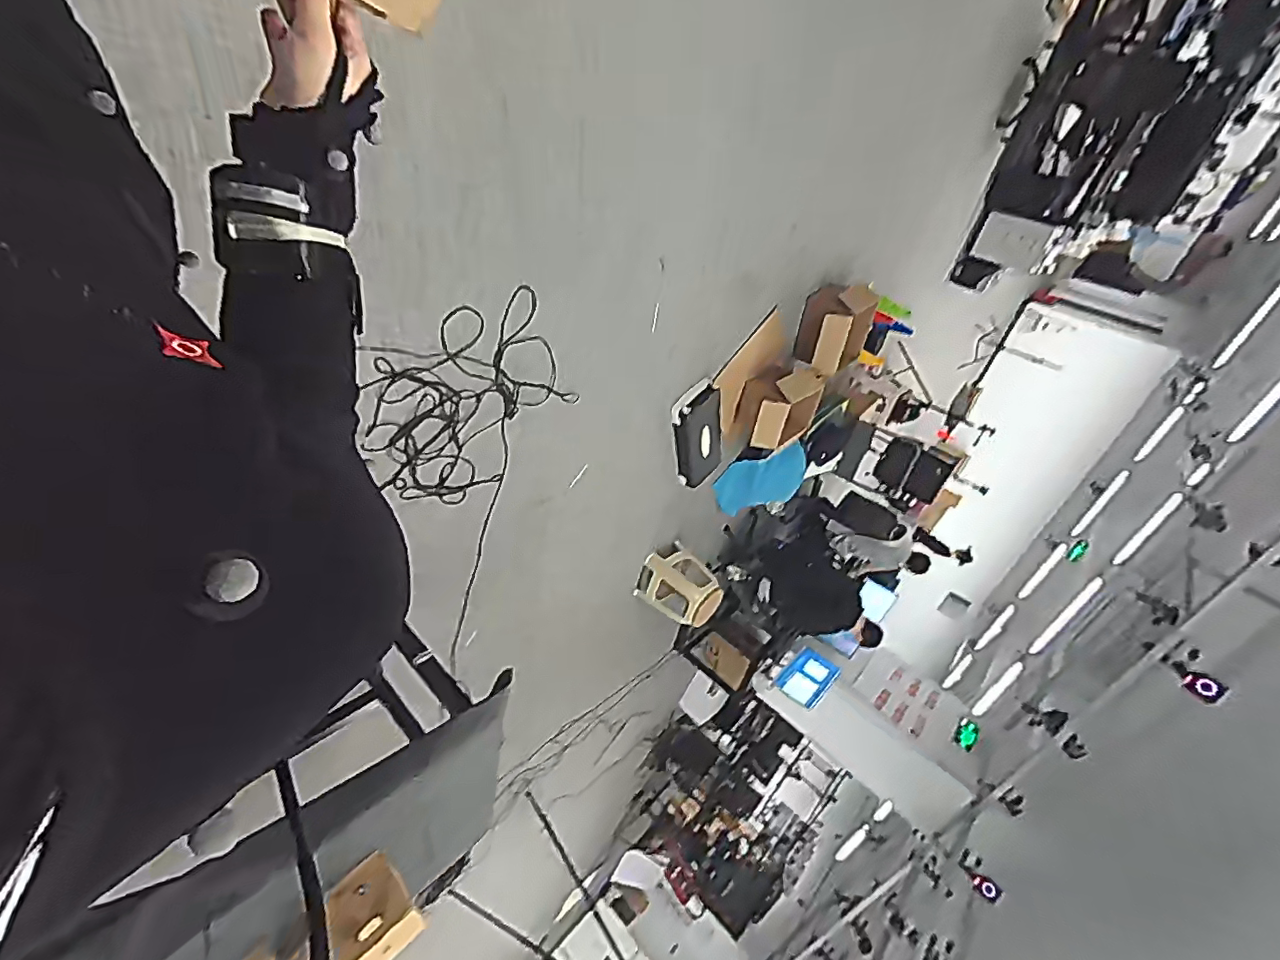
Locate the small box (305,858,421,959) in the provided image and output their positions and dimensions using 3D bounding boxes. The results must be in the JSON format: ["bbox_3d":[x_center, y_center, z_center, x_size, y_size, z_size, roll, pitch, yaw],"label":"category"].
[{"bbox_3d":[-0.642,1.032,1.260,0.168,0.176,0.179,-33,144,-37],"label":"small box"}]
